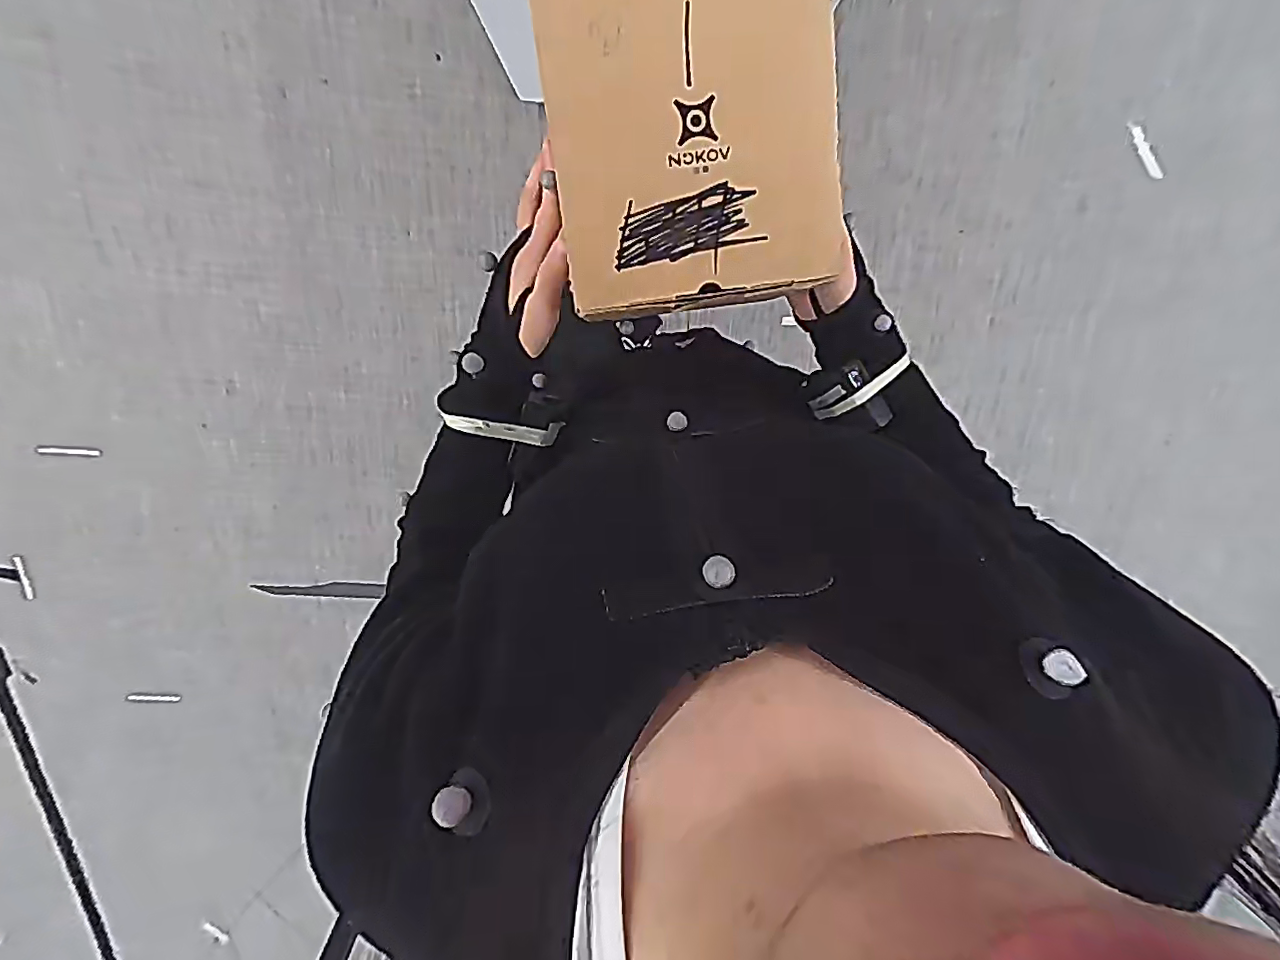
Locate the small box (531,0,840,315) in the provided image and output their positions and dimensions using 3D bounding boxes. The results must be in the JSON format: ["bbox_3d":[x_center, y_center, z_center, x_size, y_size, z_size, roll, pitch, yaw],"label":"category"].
[{"bbox_3d":[0.028,-0.216,0.385,0.168,0.176,0.179,-8,104,-1],"label":"small box"}]
